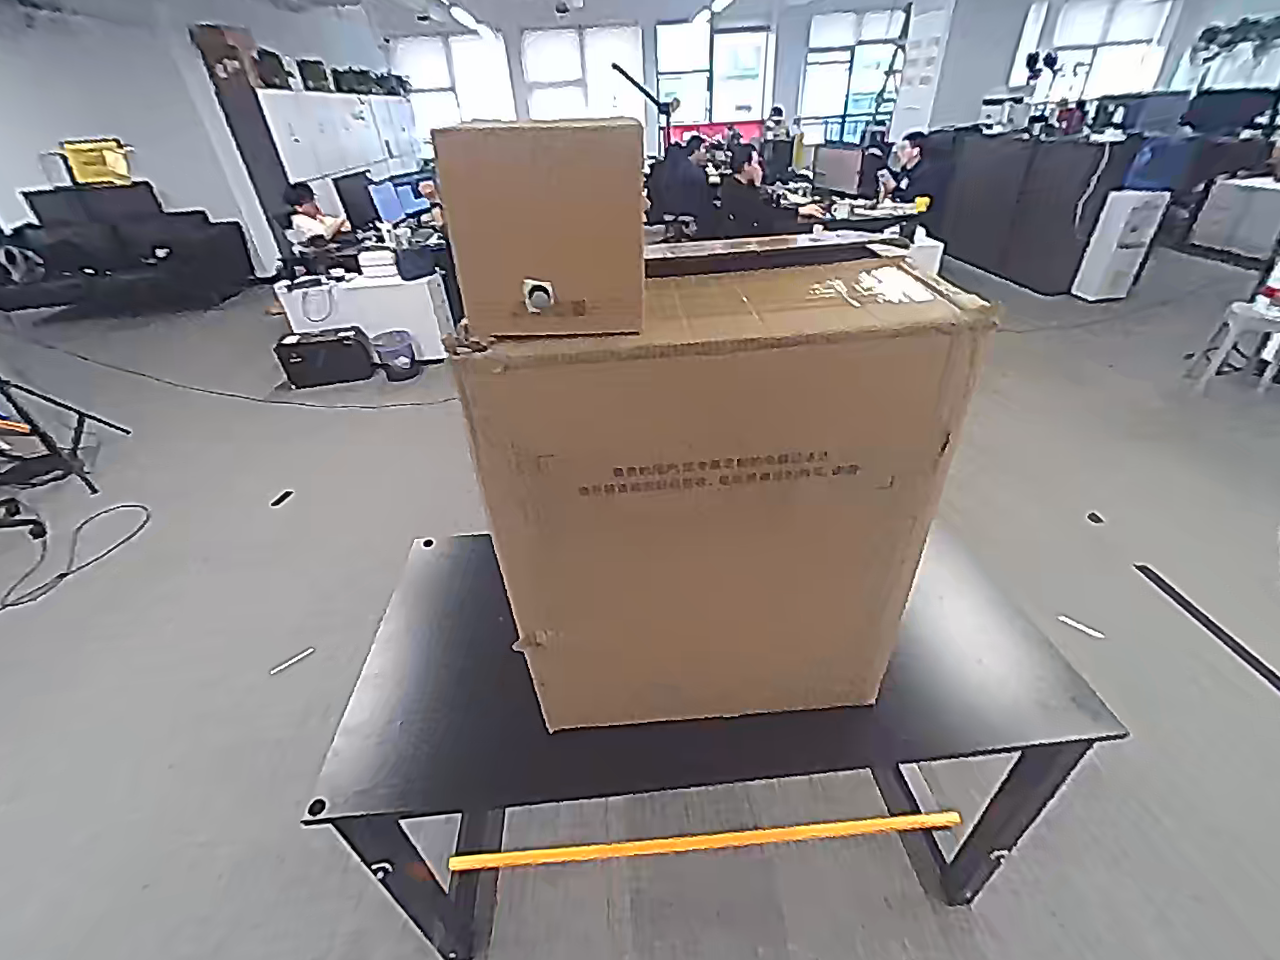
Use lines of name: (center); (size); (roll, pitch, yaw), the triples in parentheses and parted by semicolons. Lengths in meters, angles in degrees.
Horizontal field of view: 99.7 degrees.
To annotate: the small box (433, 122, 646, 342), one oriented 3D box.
small box: (-0.083, -0.246, 0.529); (0.168, 0.176, 0.179); (-4, 36, -3)
